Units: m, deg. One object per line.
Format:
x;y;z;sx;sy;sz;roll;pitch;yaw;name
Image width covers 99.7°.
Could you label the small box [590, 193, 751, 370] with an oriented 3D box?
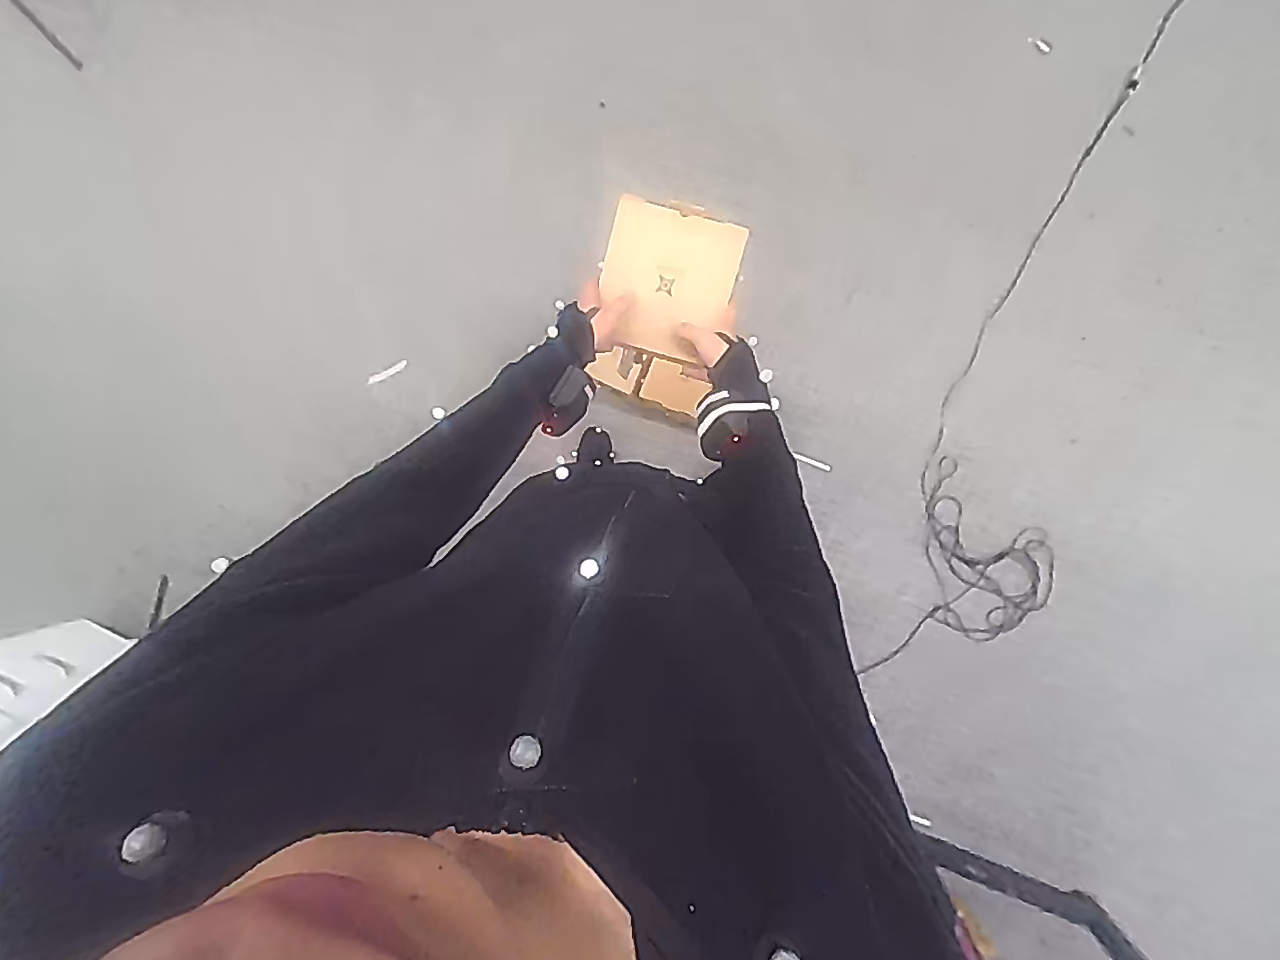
0.039;-0.260;0.752;0.168;0.176;0.179;16;101;0;small box
